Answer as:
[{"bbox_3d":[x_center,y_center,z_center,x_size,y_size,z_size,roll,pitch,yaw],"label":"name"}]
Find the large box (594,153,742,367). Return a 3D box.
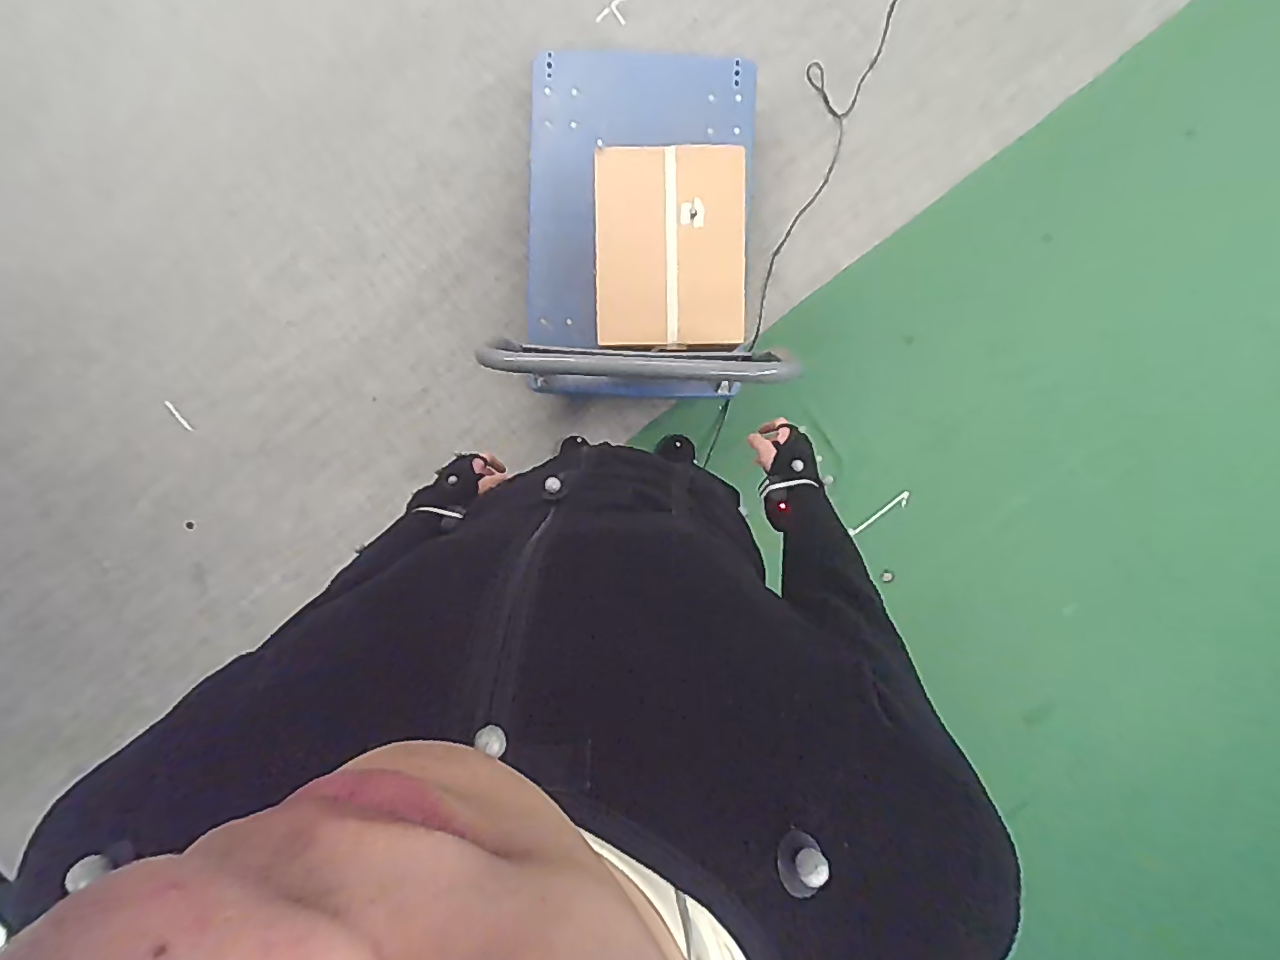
[{"bbox_3d":[0.061,-0.497,1.297,0.320,0.320,0.408,-1,94,-1],"label":"large box"}]
